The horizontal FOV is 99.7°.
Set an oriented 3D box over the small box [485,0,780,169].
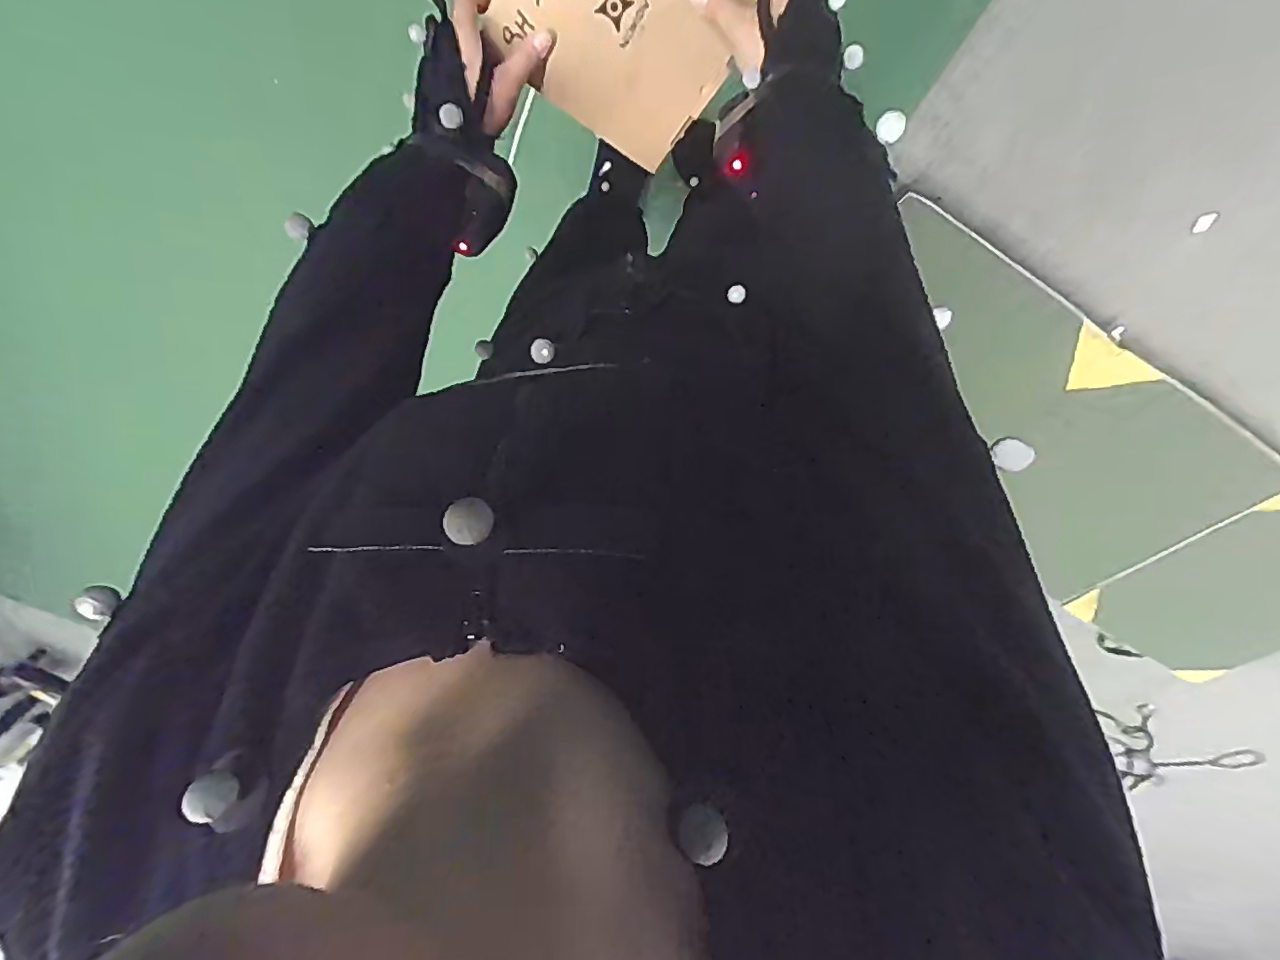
[{"bbox_3d":[-0.006,-0.422,0.460,0.179,0.176,0.168,23,138,-28],"label":"small box"}]
